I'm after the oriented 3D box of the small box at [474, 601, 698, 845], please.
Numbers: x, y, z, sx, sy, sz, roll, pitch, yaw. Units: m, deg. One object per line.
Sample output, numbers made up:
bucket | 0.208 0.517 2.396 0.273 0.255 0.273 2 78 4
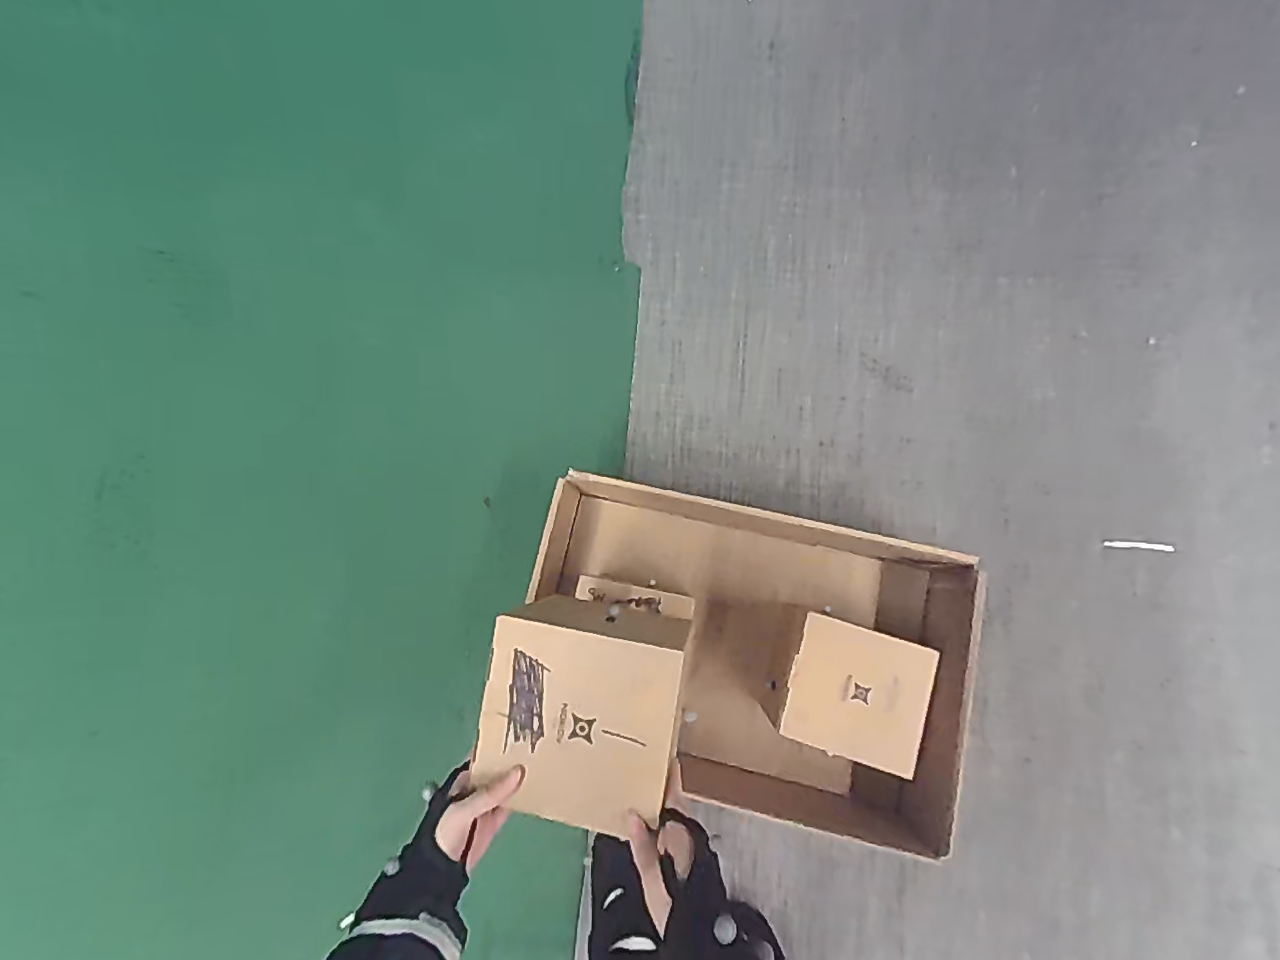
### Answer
small box | -0.041 0.226 0.556 0.179 0.176 0.168 9 86 9
